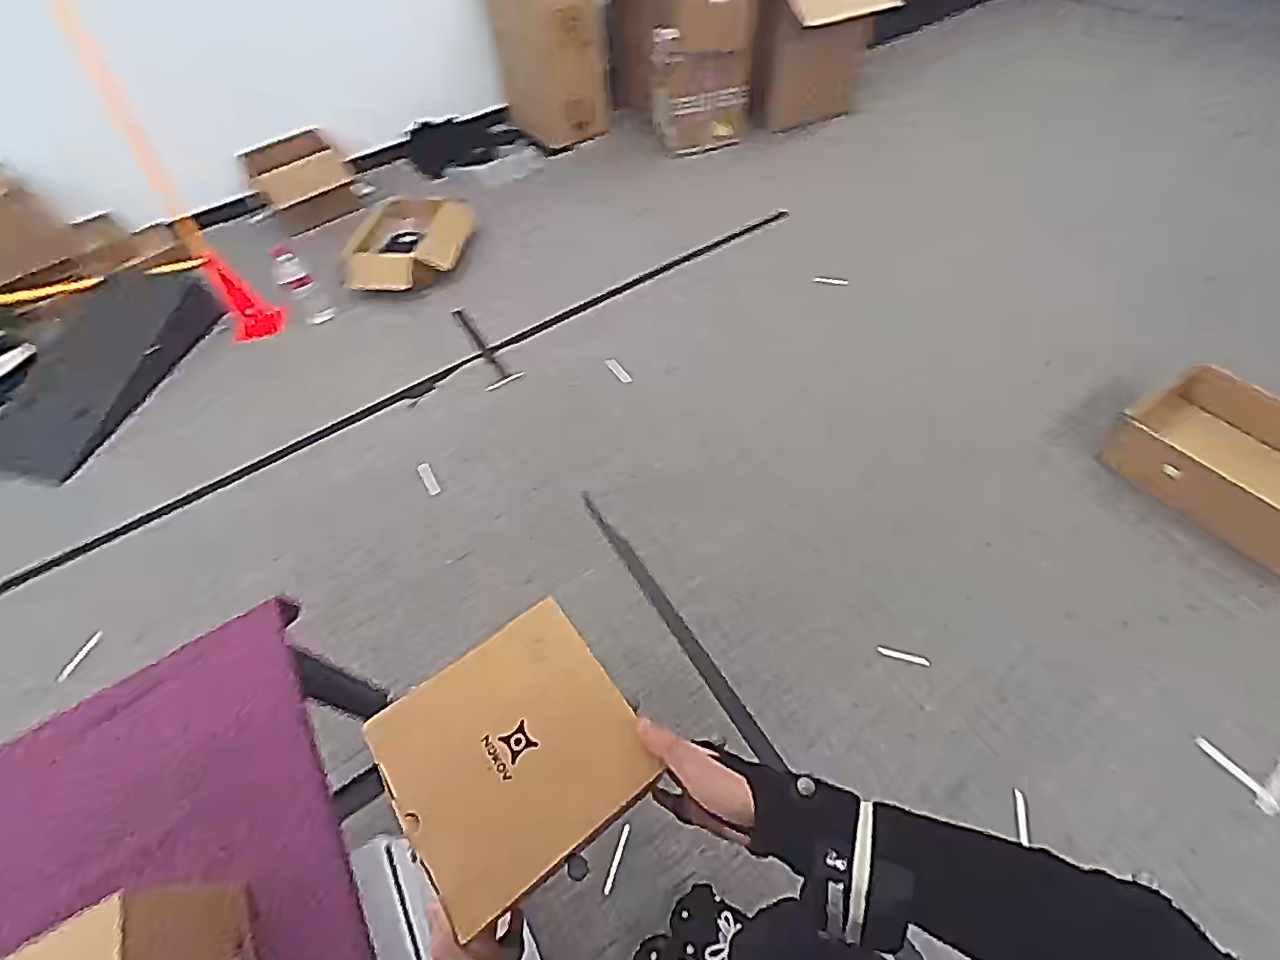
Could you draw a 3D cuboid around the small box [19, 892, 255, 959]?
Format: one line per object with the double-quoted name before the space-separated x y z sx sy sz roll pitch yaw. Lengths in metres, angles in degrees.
"small box" -0.492 0.519 0.493 0.179 0.176 0.168 -28 58 -13
